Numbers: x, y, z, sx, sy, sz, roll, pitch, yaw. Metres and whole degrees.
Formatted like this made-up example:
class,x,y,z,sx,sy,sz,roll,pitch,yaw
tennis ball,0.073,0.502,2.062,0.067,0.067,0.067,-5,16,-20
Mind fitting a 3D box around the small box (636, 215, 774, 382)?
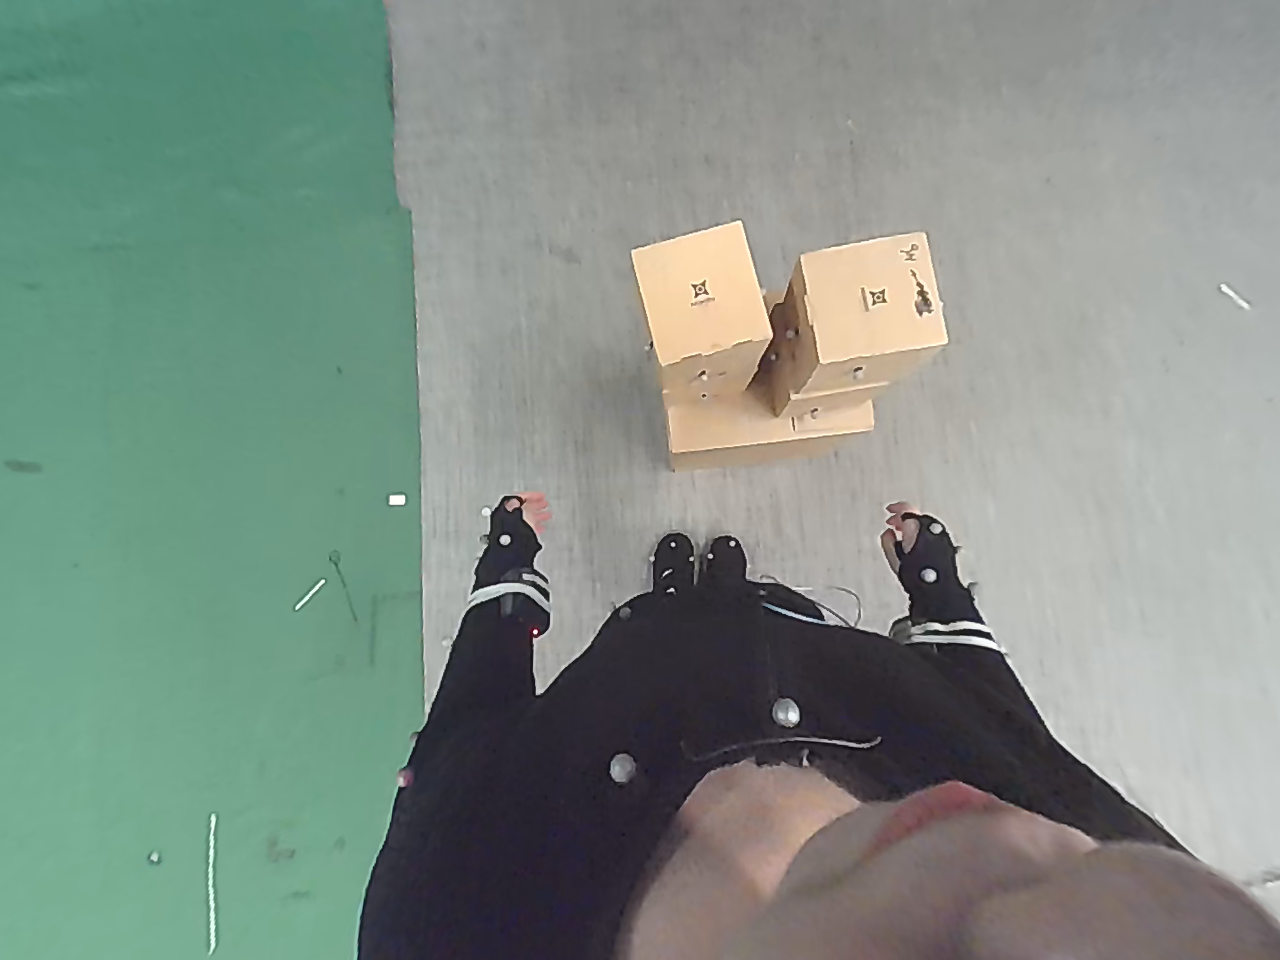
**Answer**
class,x,y,z,sx,sy,sz,roll,pitch,yaw
small box,0.093,-0.272,0.845,0.168,0.176,0.179,-14,86,2
